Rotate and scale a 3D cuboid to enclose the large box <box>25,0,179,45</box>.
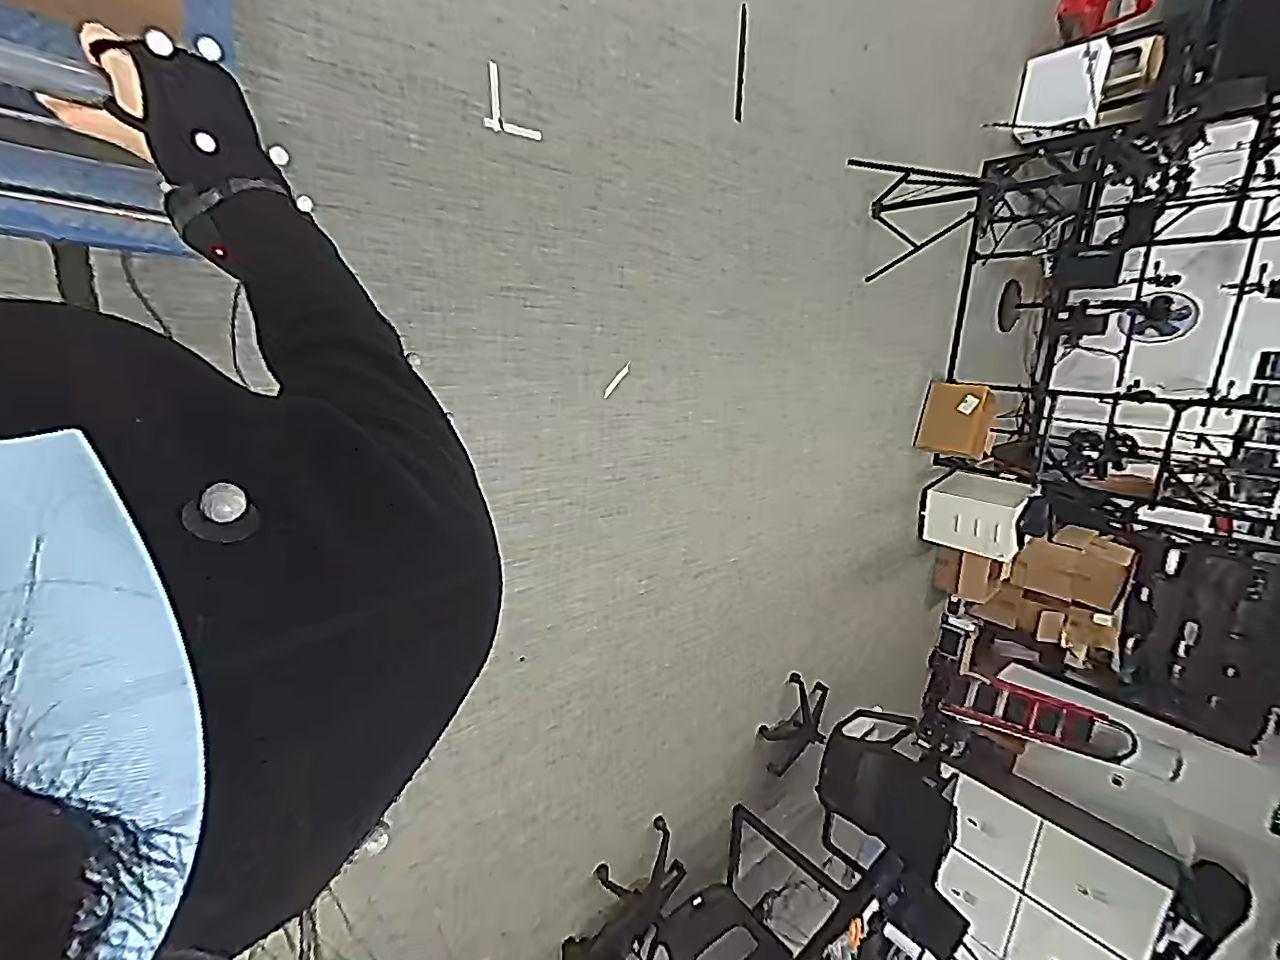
[{"bbox_3d":[-0.836,-0.830,0.652,0.408,0.320,0.320,-5,105,-40],"label":"large box"}]
